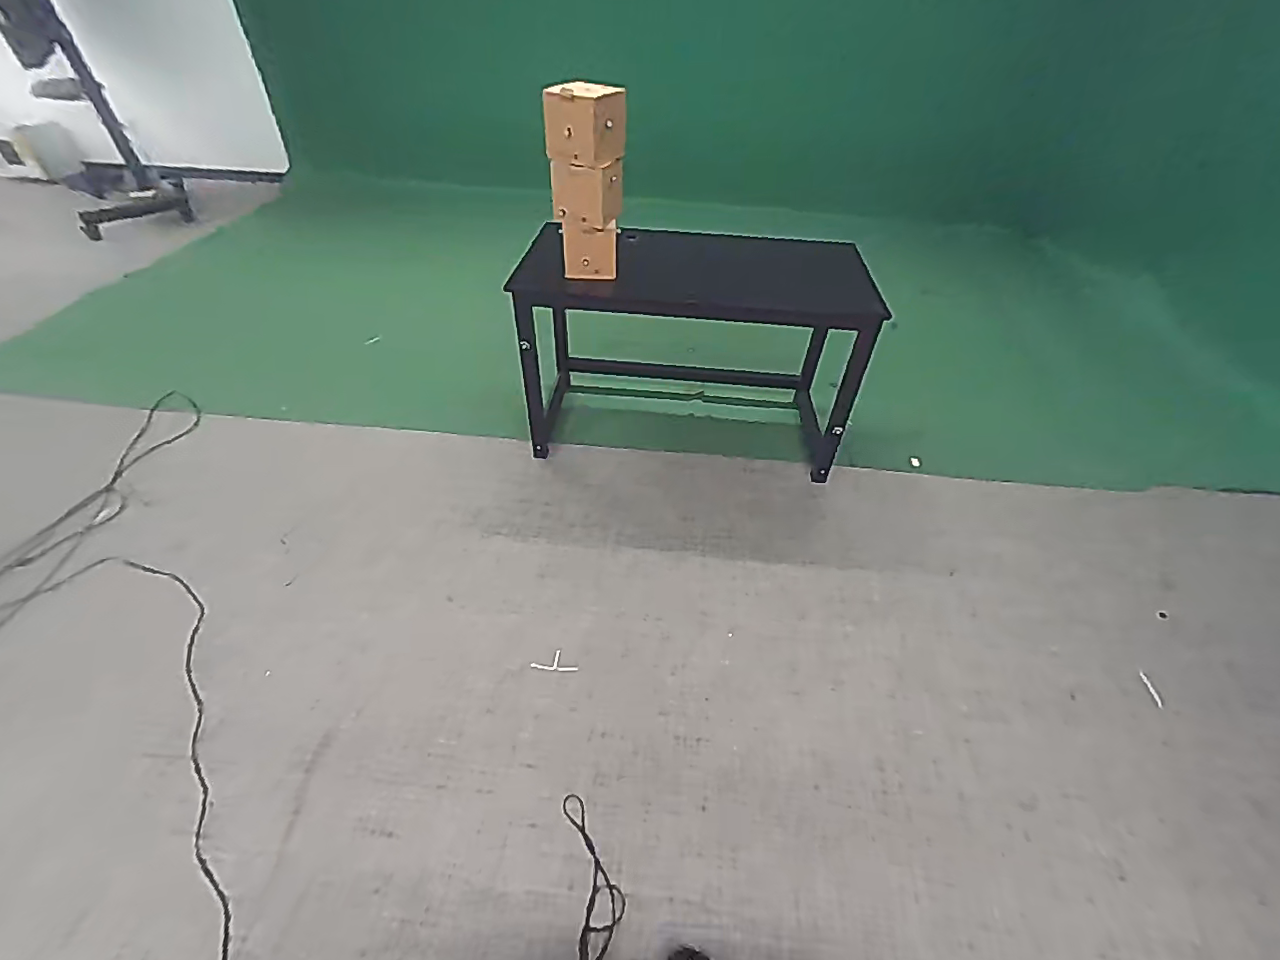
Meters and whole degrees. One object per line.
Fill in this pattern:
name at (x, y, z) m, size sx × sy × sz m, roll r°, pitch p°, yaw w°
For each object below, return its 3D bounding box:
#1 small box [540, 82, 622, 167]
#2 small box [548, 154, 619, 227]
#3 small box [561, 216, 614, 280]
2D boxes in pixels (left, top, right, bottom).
small box at (-0.162, -1.019, 1.549) m, size 0.168 × 0.176 × 0.179 m, roll 23°, pitch 49°, yaw 18°
small box at (-0.167, -0.895, 1.658) m, size 0.168 × 0.176 × 0.179 m, roll 15°, pitch 45°, yaw 11°
small box at (-0.170, -0.777, 1.772) m, size 0.168 × 0.176 × 0.179 m, roll 0°, pitch 45°, yaw -4°
